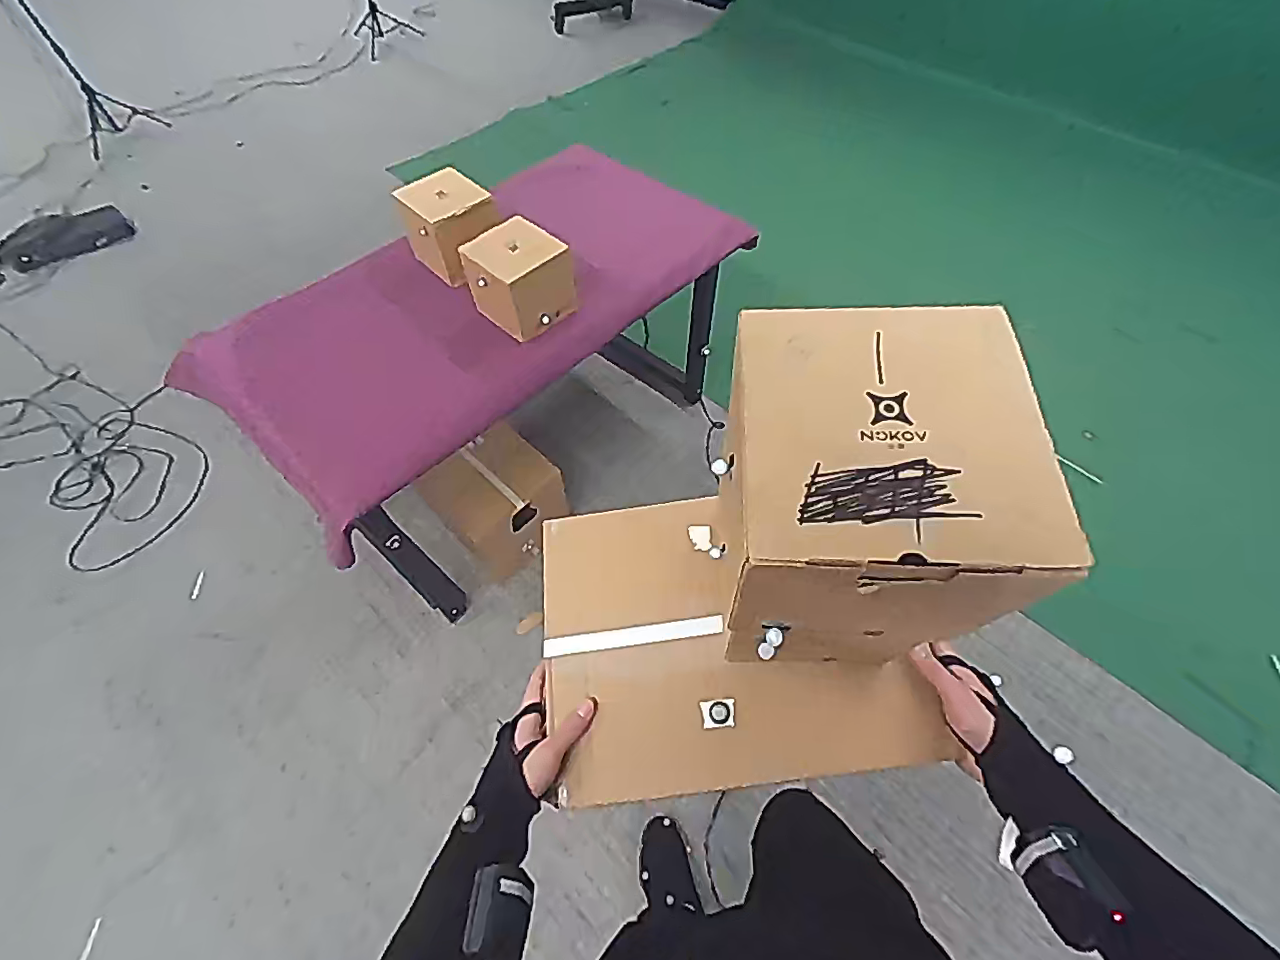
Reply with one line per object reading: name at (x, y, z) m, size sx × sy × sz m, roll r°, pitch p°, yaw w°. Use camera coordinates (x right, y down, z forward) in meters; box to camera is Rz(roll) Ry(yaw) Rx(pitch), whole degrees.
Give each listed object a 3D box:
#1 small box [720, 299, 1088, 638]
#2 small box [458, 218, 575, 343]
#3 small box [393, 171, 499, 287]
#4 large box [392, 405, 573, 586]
small box at (0.142, 0.003, 0.368) m, size 0.168 × 0.176 × 0.179 m, roll 1°, pitch 62°, yaw 6°
small box at (-0.263, -0.434, 1.190) m, size 0.168 × 0.176 × 0.179 m, roll -41°, pitch 65°, yaw -21°
small box at (-0.452, -0.601, 1.301) m, size 0.168 × 0.176 × 0.179 m, roll -40°, pitch 66°, yaw -22°
large box at (-0.465, 0.049, 1.670) m, size 0.408 × 0.320 × 0.320 m, roll 38°, pitch 64°, yaw 23°
